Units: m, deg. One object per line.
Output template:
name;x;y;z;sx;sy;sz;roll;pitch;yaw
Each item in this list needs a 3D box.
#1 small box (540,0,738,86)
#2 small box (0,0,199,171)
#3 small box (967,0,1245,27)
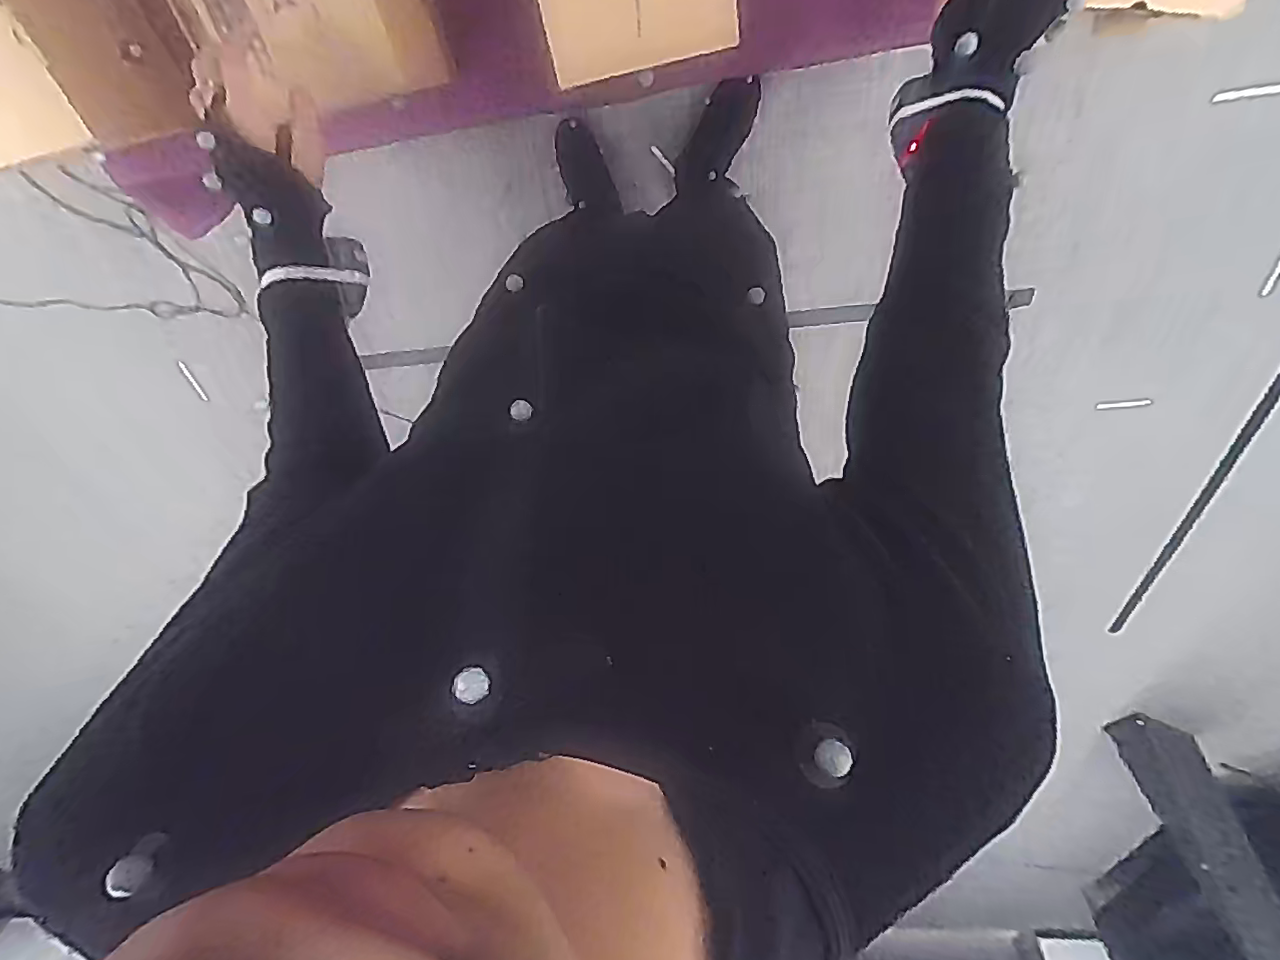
small box;-0.007;-0.483;0.489;0.168;0.176;0.179;-7;129;9
small box;-0.629;-0.435;0.561;0.179;0.176;0.168;-9;128;9
small box;0.412;-0.500;0.449;0.168;0.176;0.179;5;129;1
